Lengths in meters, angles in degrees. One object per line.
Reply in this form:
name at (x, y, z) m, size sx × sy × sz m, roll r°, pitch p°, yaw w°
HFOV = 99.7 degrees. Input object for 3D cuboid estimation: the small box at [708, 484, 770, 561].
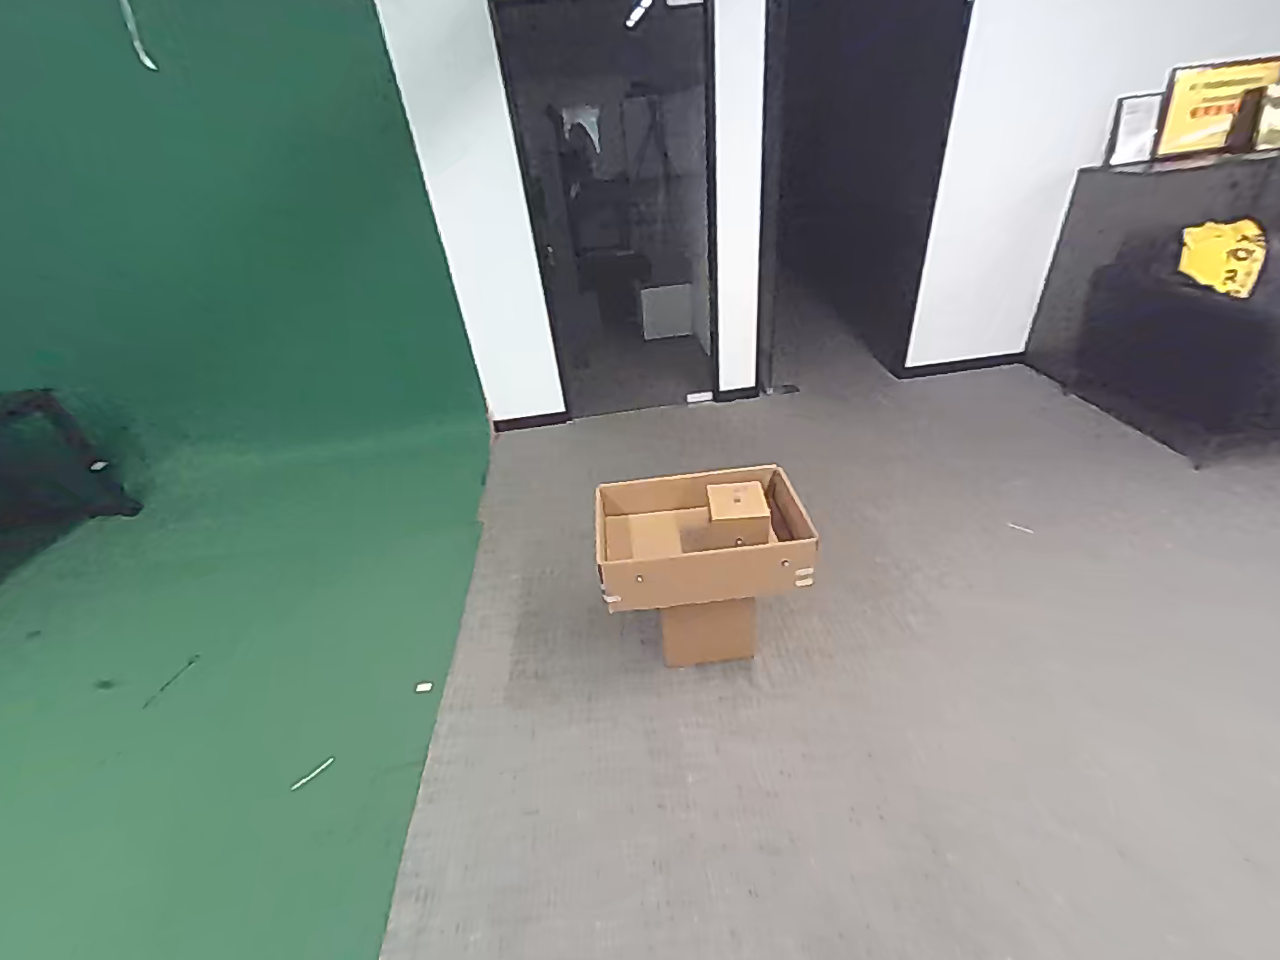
small box at (0.297, 0.134, 1.641) m, size 0.168 × 0.176 × 0.179 m, roll -4°, pitch 33°, yaw 4°
